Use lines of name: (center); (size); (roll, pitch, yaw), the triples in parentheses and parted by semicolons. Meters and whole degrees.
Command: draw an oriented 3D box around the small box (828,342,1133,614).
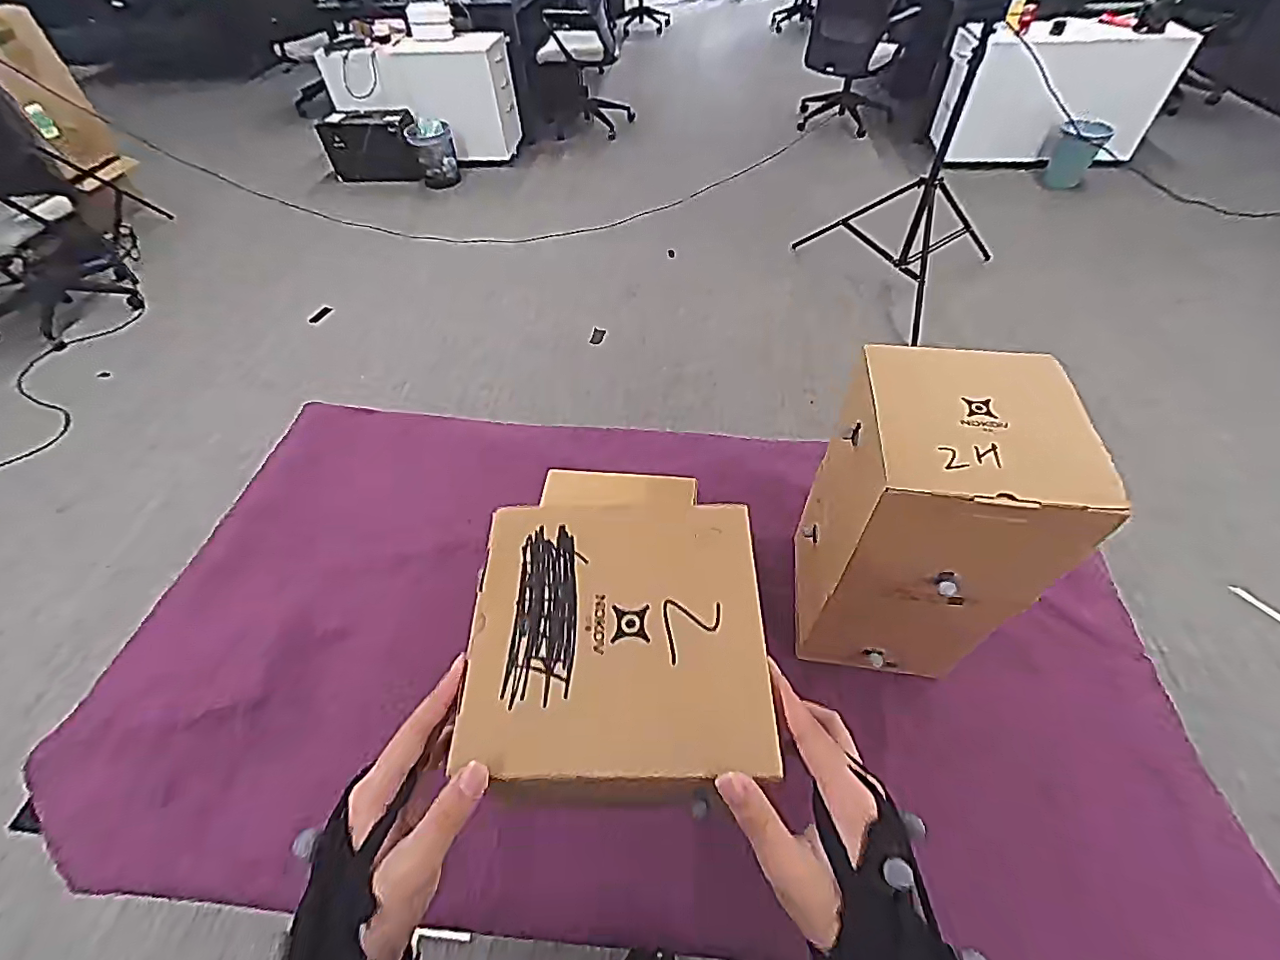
small box: (0.277, -0.002, 0.496); (0.168, 0.176, 0.179); (5, 51, 8)

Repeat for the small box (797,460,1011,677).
small box: (0.280, 0.103, 0.624); (0.168, 0.176, 0.179); (6, 51, 8)

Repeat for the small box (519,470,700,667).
small box: (-0.023, 0.107, 0.637); (0.179, 0.176, 0.168); (4, 51, 5)
